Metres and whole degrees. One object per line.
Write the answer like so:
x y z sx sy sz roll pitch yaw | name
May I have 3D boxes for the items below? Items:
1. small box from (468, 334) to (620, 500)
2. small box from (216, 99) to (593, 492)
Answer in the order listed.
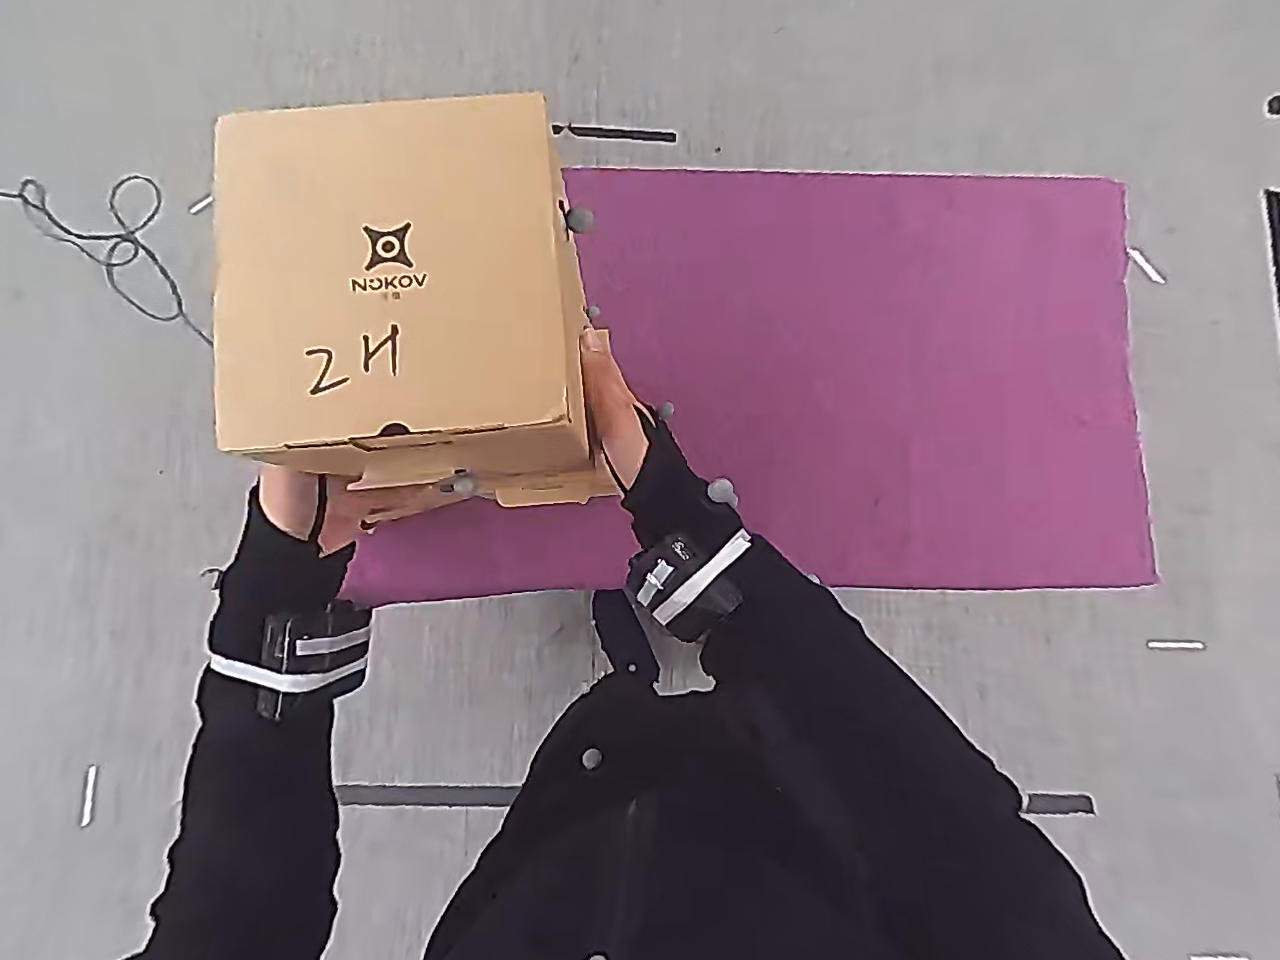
-0.111 -0.066 0.674 0.168 0.176 0.179 -3 84 -2 | small box
-0.122 -0.094 0.344 0.168 0.176 0.179 -5 83 0 | small box
